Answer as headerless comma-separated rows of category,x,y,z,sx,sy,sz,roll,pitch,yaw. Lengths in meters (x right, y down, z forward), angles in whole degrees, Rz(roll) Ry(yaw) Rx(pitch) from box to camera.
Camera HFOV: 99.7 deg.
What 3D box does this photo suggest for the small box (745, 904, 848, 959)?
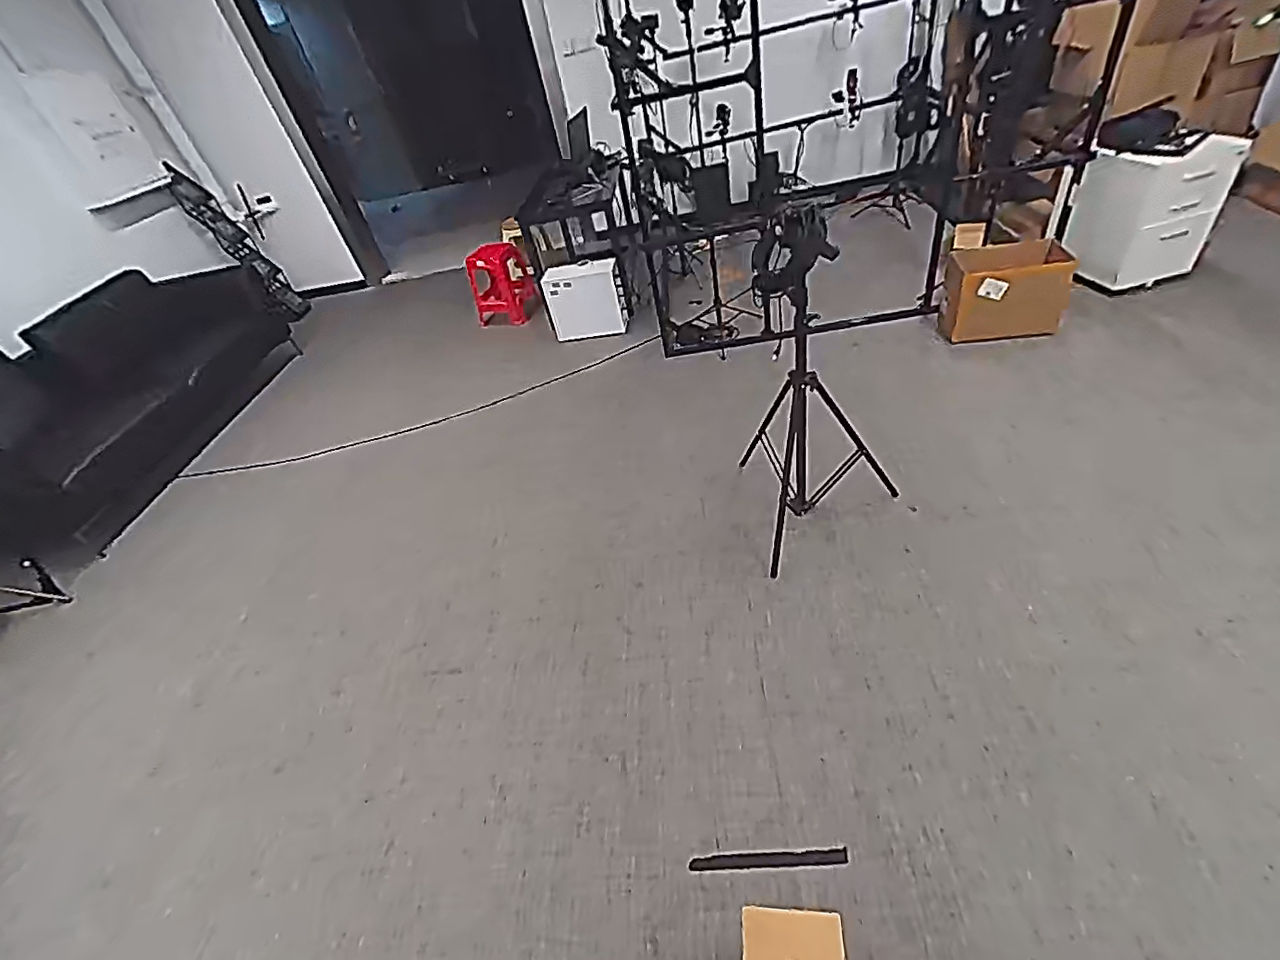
small box,0.266,0.851,0.913,0.168,0.176,0.179,-5,42,12
